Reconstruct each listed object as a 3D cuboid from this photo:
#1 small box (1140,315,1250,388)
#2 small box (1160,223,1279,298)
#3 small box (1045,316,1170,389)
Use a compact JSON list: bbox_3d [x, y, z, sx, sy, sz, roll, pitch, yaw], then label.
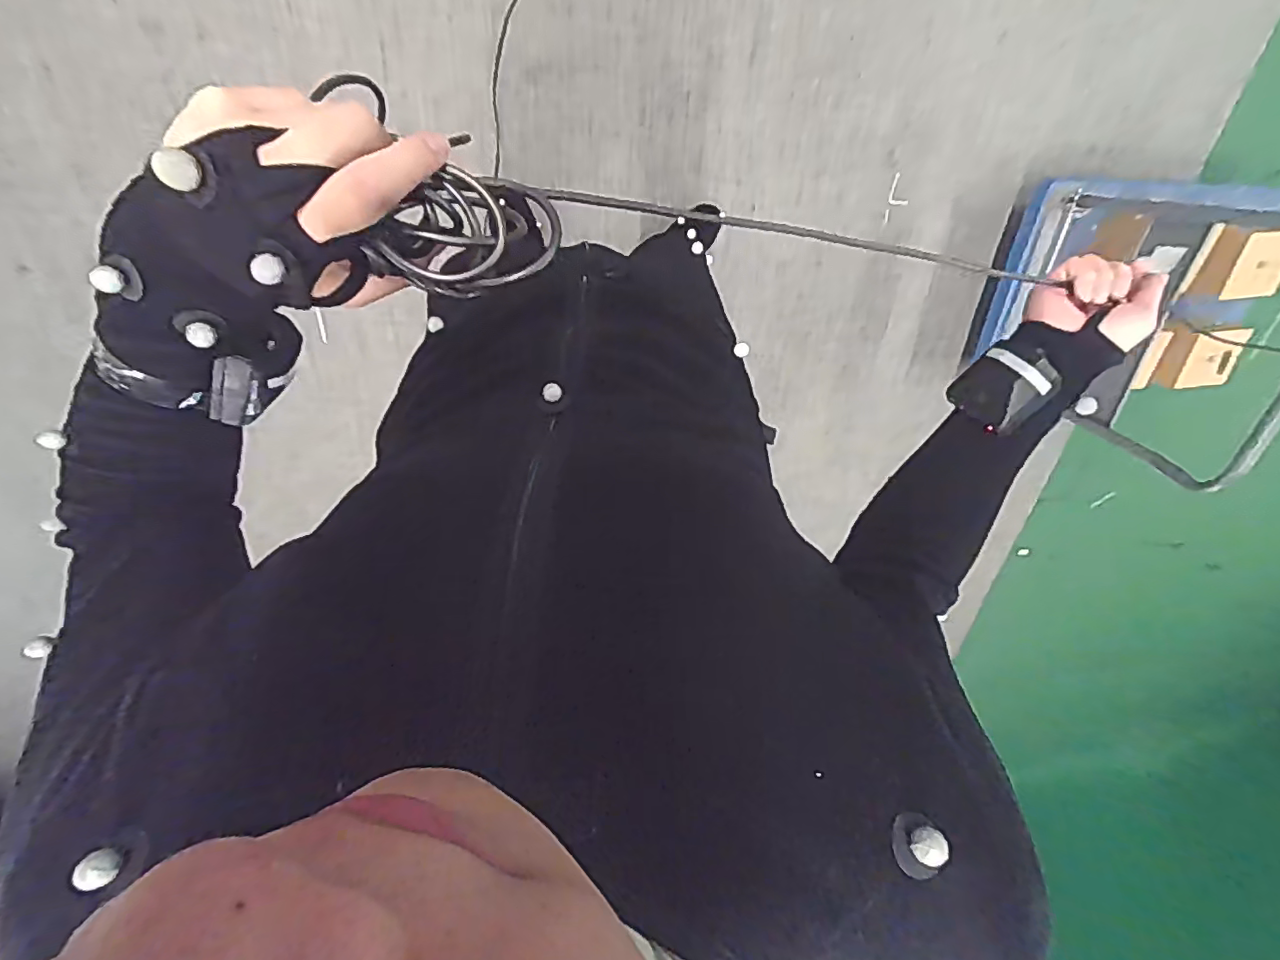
[{"bbox_3d":[1.598,-0.383,1.597,0.179,0.176,0.168,-6,121,-7],"label":"small box"},{"bbox_3d":[1.590,-0.598,1.466,0.179,0.176,0.168,-6,122,-8],"label":"small box"},{"bbox_3d":[1.332,-0.370,1.553,0.179,0.176,0.168,-2,121,-9],"label":"small box"}]
